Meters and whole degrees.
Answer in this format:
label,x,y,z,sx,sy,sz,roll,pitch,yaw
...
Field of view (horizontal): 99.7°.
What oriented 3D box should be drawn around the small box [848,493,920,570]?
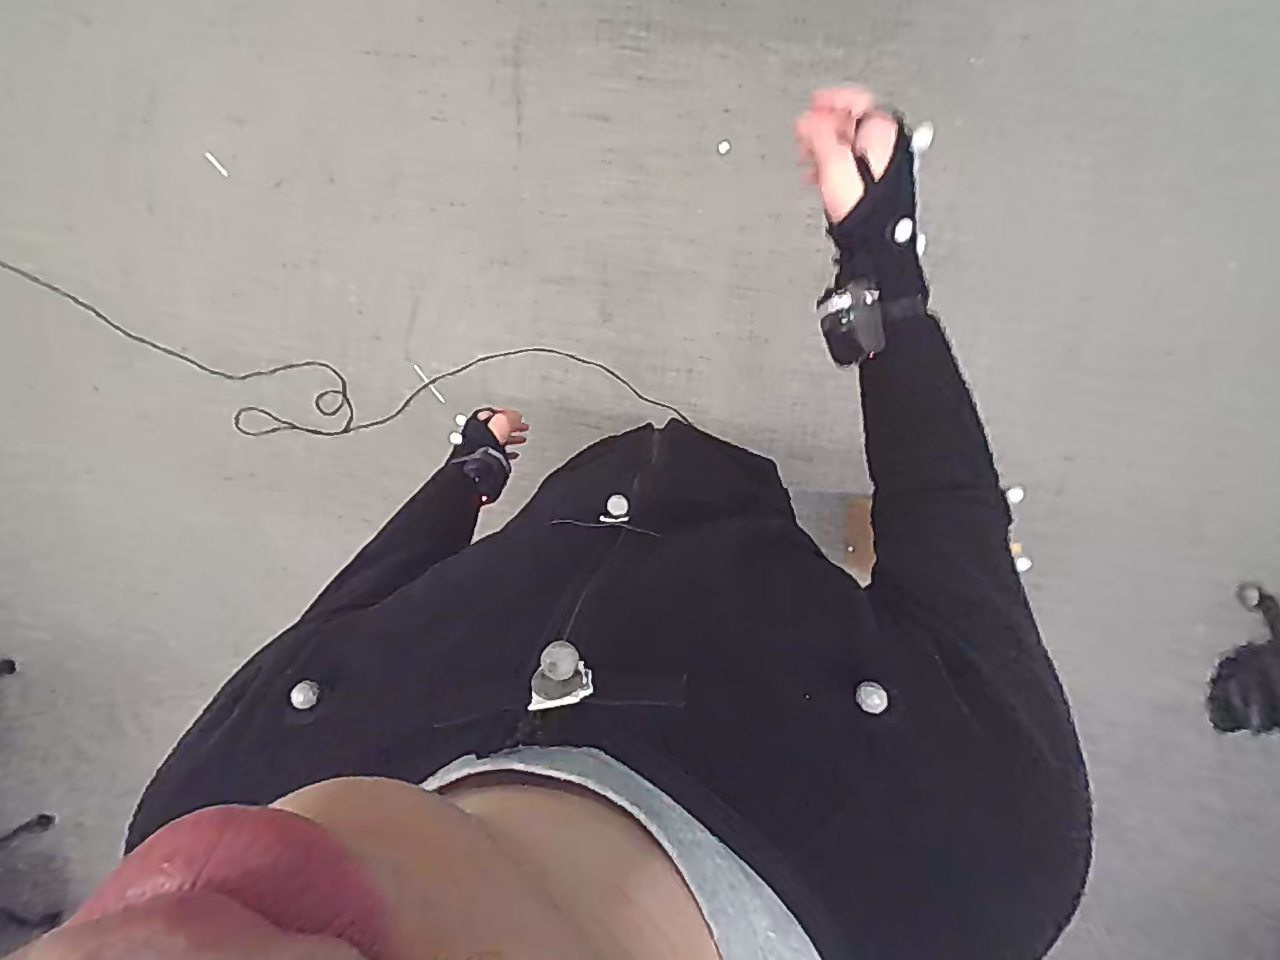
label,x,y,z,sx,sy,sz,roll,pitch,yaw
small box,0.661,0.137,1.431,0.168,0.176,0.179,4,96,4
